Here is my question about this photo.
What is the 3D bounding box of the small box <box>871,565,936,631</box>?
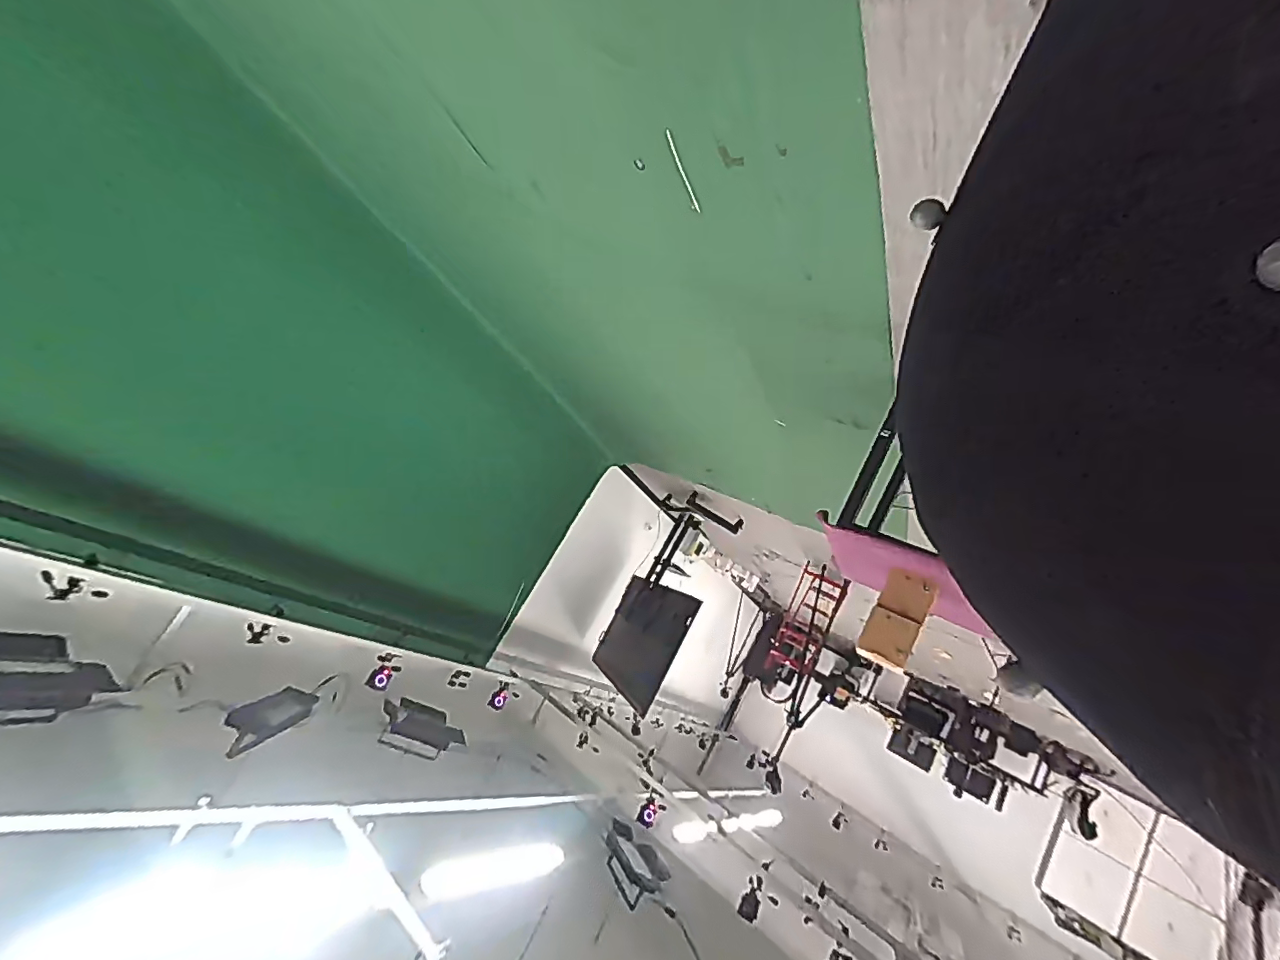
[{"bbox_3d":[0.982,0.437,2.015,0.168,0.176,0.179,26,167,30],"label":"small box"}]
